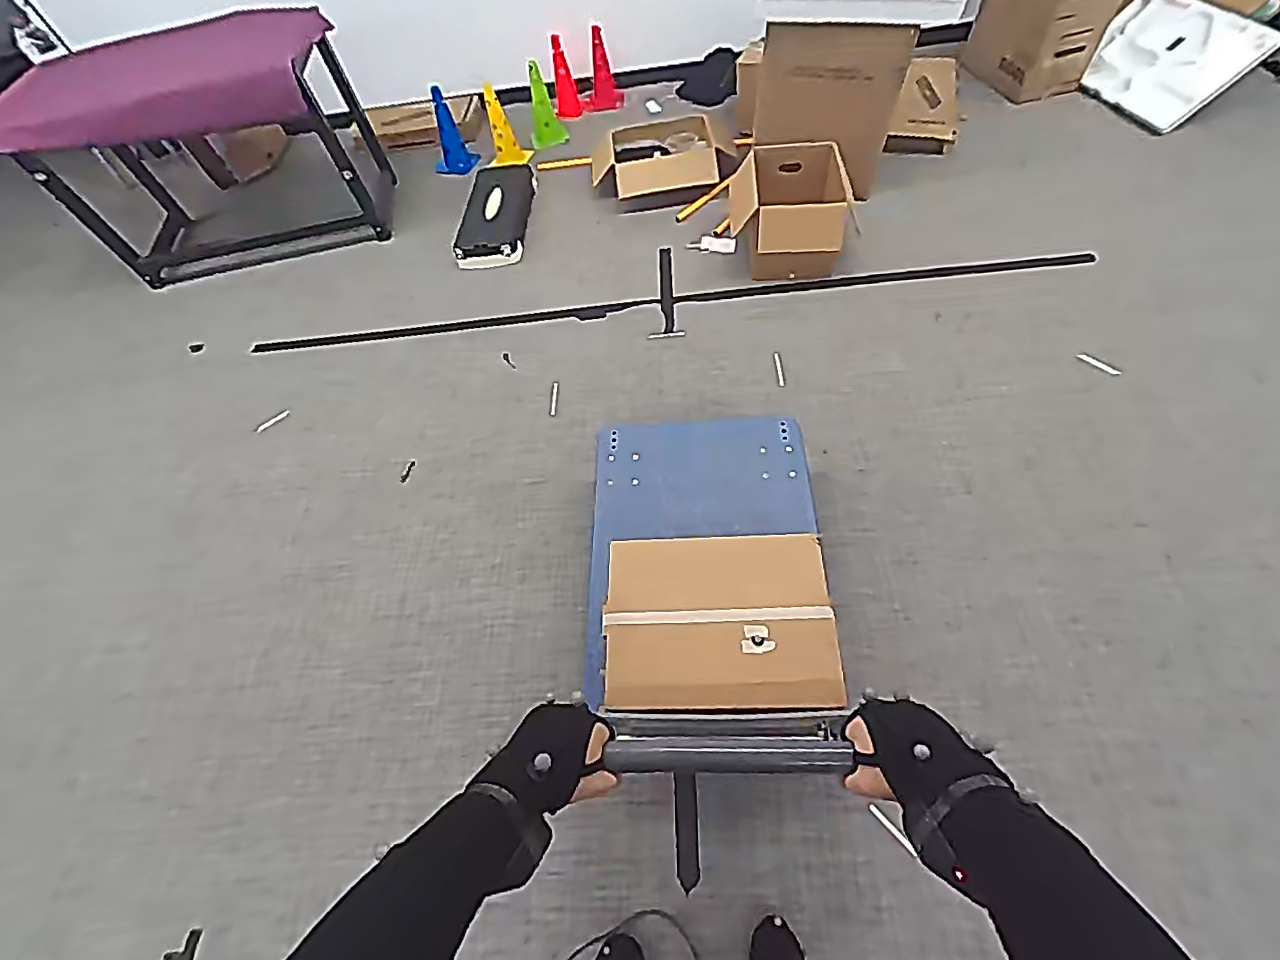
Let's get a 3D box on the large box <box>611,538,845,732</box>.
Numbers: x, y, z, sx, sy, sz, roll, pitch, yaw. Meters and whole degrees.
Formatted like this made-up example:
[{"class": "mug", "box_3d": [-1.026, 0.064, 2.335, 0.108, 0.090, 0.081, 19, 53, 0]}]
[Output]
[{"class": "large box", "box_3d": [0.157, 0.333, 1.119, 0.408, 0.320, 0.320, -3, 60, 4]}]
